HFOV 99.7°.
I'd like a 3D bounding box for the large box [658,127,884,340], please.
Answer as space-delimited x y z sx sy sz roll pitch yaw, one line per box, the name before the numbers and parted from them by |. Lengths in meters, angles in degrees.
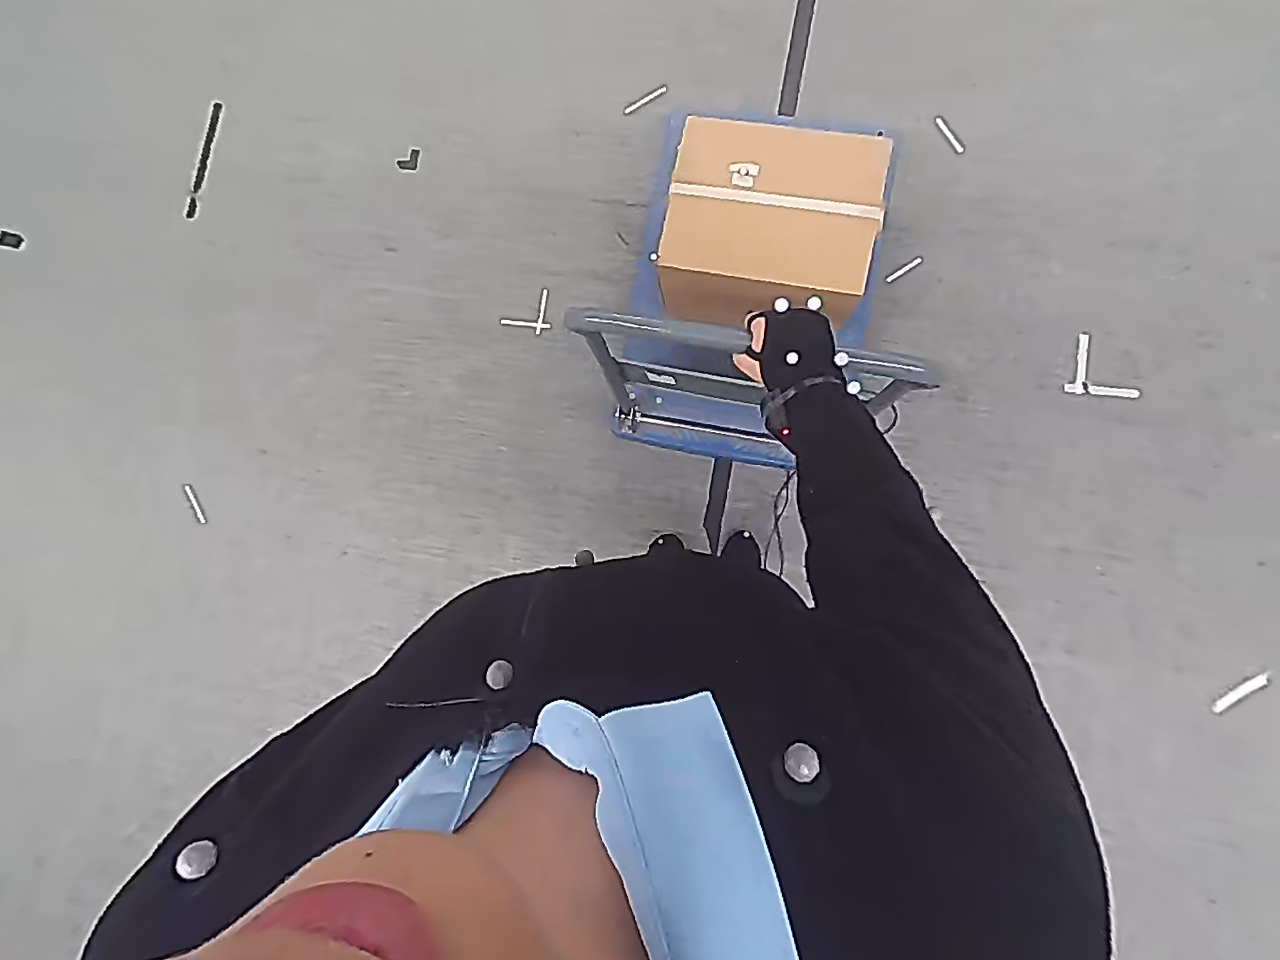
large box | 0.278 -0.530 1.214 0.408 0.320 0.320 11 87 9
